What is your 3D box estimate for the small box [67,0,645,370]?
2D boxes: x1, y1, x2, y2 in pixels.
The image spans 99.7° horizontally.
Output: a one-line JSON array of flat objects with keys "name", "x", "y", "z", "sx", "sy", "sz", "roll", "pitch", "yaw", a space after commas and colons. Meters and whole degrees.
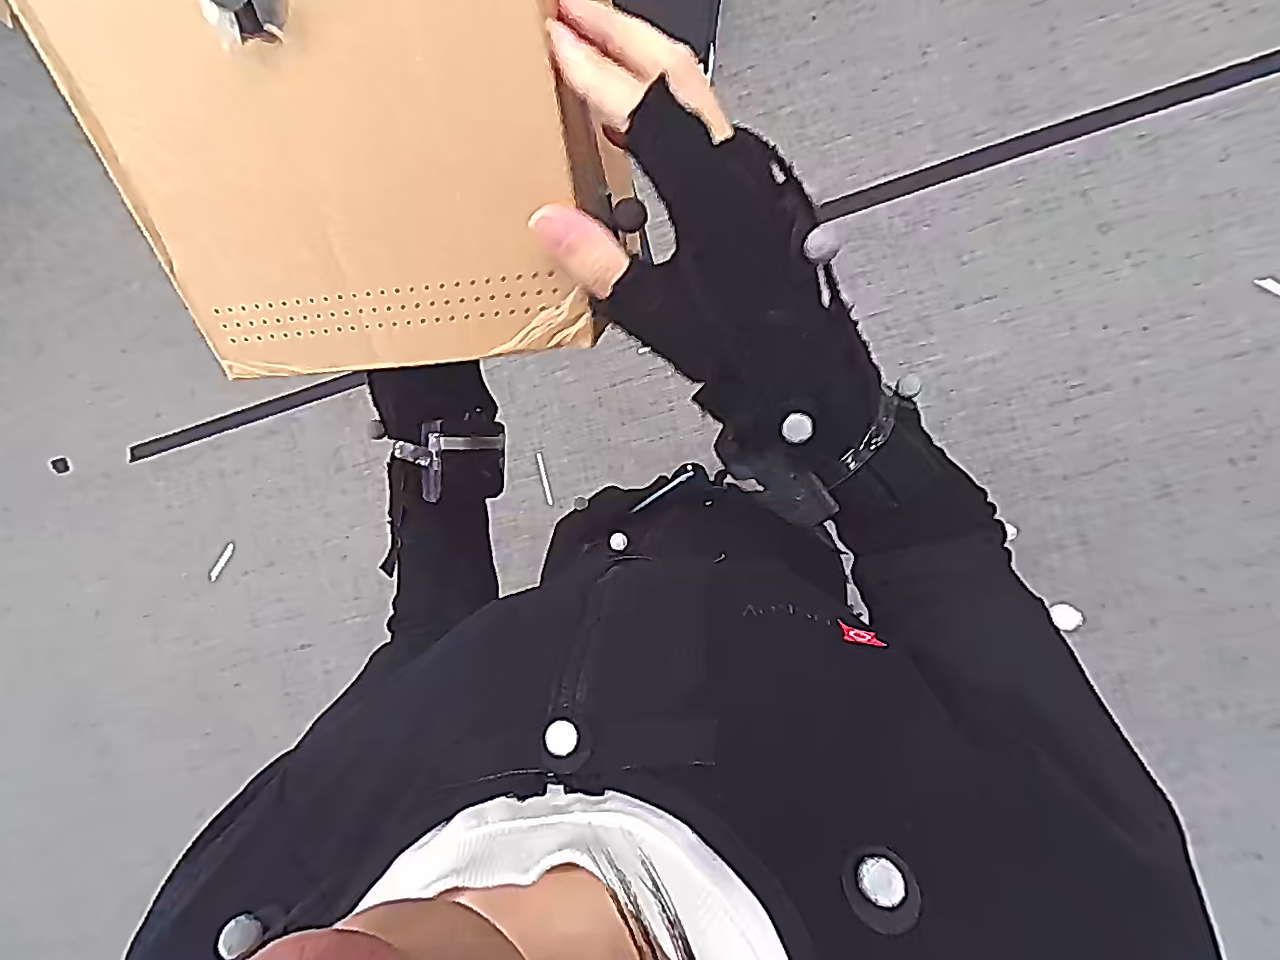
[{"name": "small box", "x": -0.101, "y": -0.160, "z": 0.263, "sx": 0.179, "sy": 0.168, "sz": 0.176, "roll": 0, "pitch": 125, "yaw": 10}]
